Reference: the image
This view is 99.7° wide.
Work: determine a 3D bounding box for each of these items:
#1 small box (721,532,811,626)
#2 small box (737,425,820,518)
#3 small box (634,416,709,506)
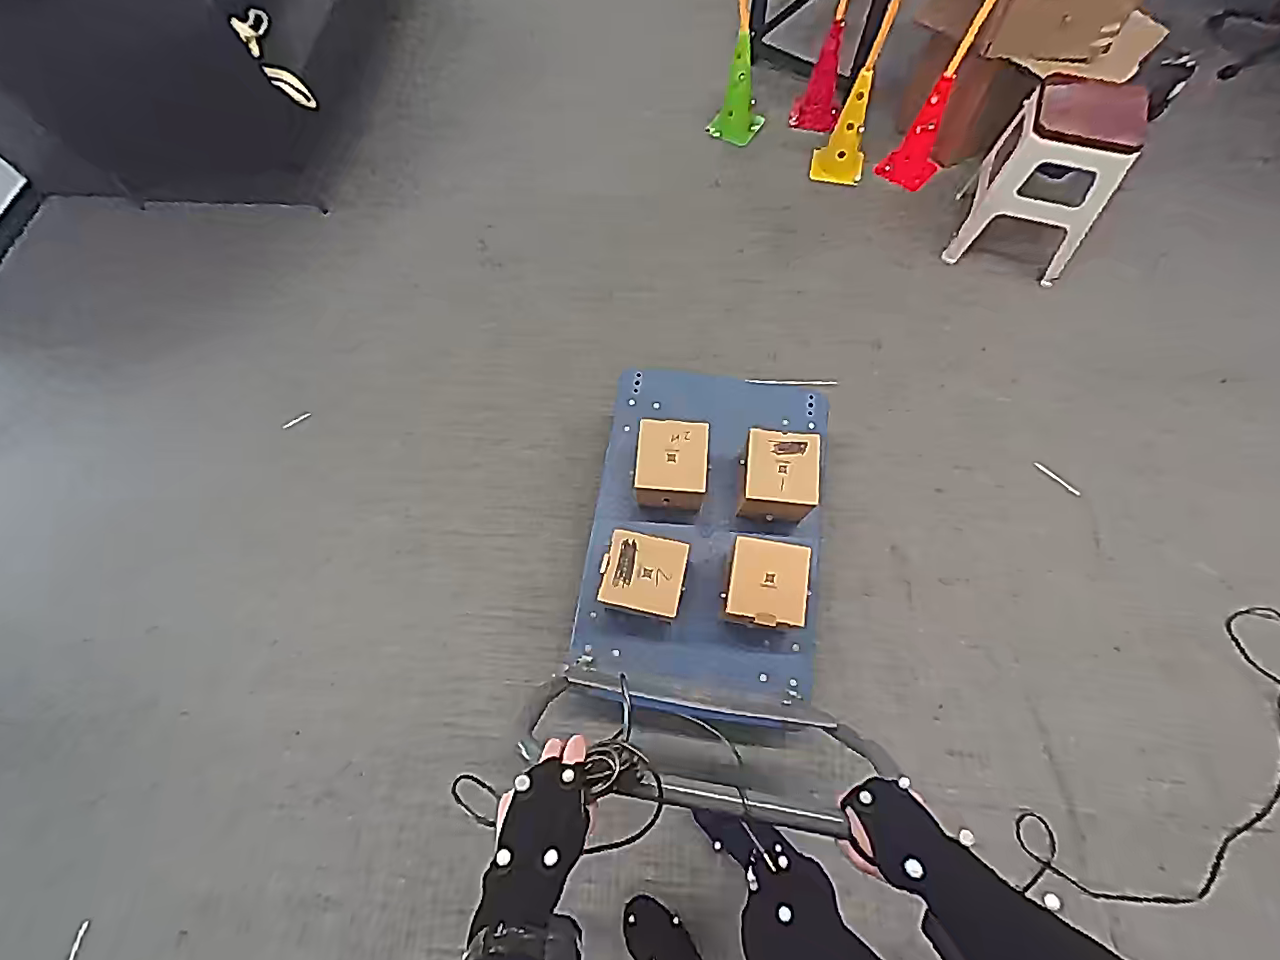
[{"bbox_3d":[0.284,0.233,1.247,0.168,0.176,0.179,9,74,5],"label":"small box"},{"bbox_3d":[0.334,-0.016,1.322,0.168,0.176,0.179,6,74,5],"label":"small box"},{"bbox_3d":[0.078,-0.041,1.340,0.168,0.176,0.179,5,73,3],"label":"small box"}]
